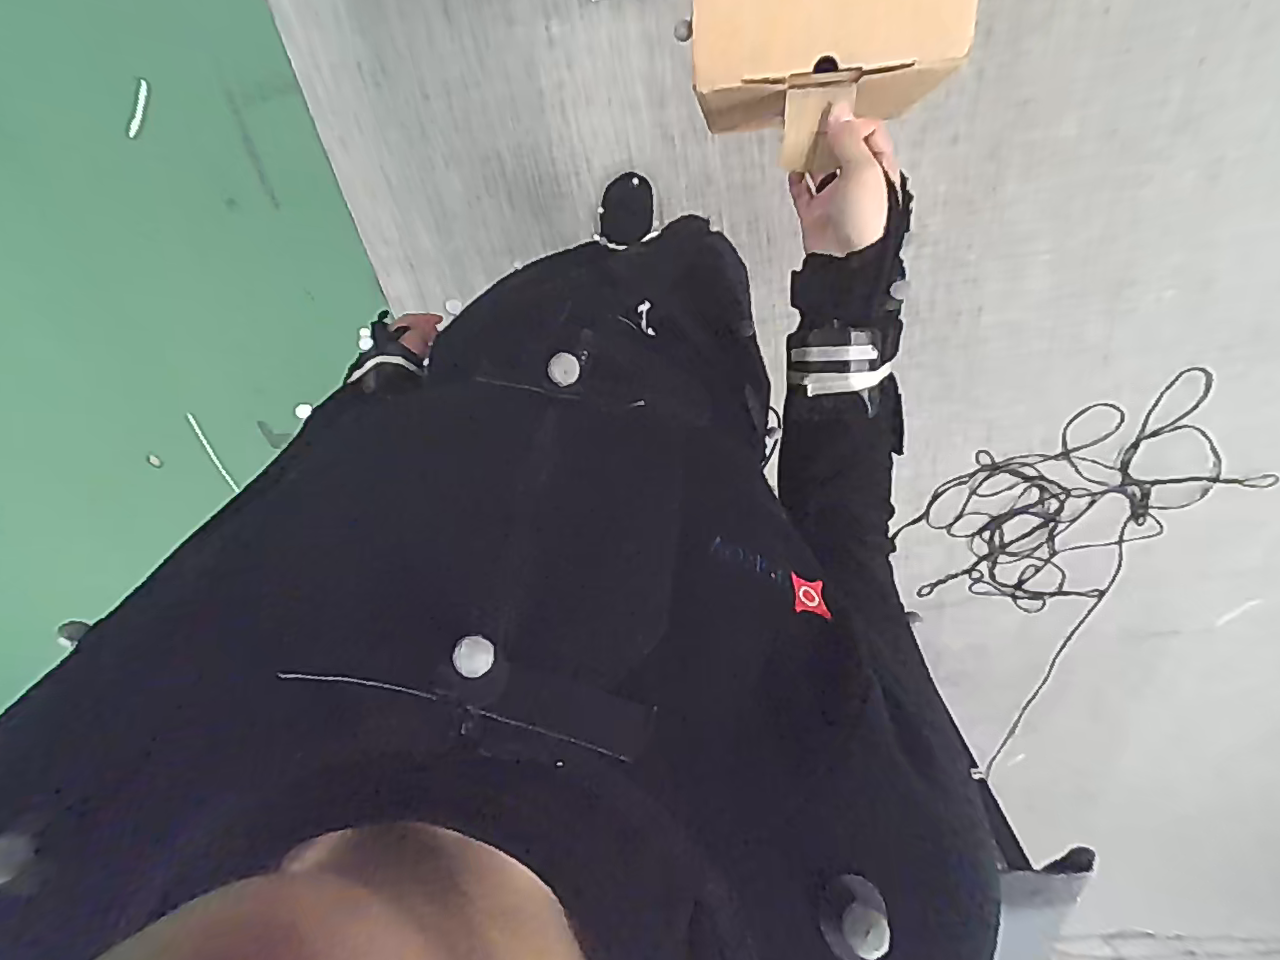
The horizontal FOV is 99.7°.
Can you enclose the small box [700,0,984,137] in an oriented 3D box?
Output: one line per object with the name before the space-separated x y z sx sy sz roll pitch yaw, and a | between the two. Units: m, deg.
small box | 0.129 -0.359 0.375 0.168 0.176 0.179 2 115 11
